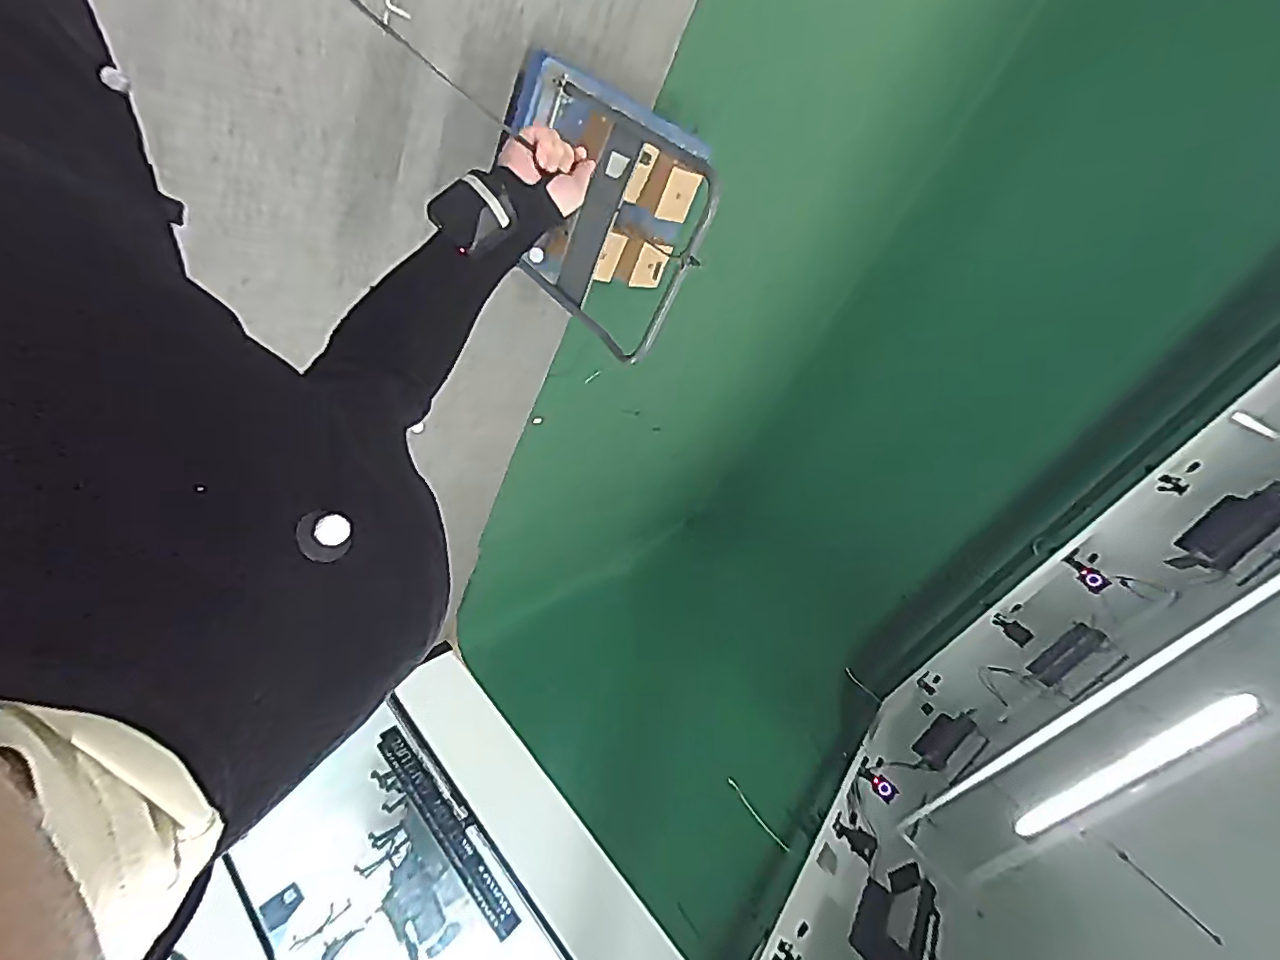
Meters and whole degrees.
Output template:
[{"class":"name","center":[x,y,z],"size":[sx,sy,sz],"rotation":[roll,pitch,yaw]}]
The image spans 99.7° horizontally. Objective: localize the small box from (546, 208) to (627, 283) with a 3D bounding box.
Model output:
[{"class":"small box","center":[-0.183,-0.794,1.831],"size":[0.179,0.176,0.168],"rotation":[-15,141,-51]}]

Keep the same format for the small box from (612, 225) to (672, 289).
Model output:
[{"class":"small box","center":[-0.018,-0.841,2.040],"size":[0.179,0.176,0.168],"rotation":[-19,144,-47]}]

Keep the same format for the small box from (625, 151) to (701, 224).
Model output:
[{"class":"small box","center":[0.075,-1.029,1.899],"size":[0.179,0.176,0.168],"rotation":[-20,146,-48]}]
